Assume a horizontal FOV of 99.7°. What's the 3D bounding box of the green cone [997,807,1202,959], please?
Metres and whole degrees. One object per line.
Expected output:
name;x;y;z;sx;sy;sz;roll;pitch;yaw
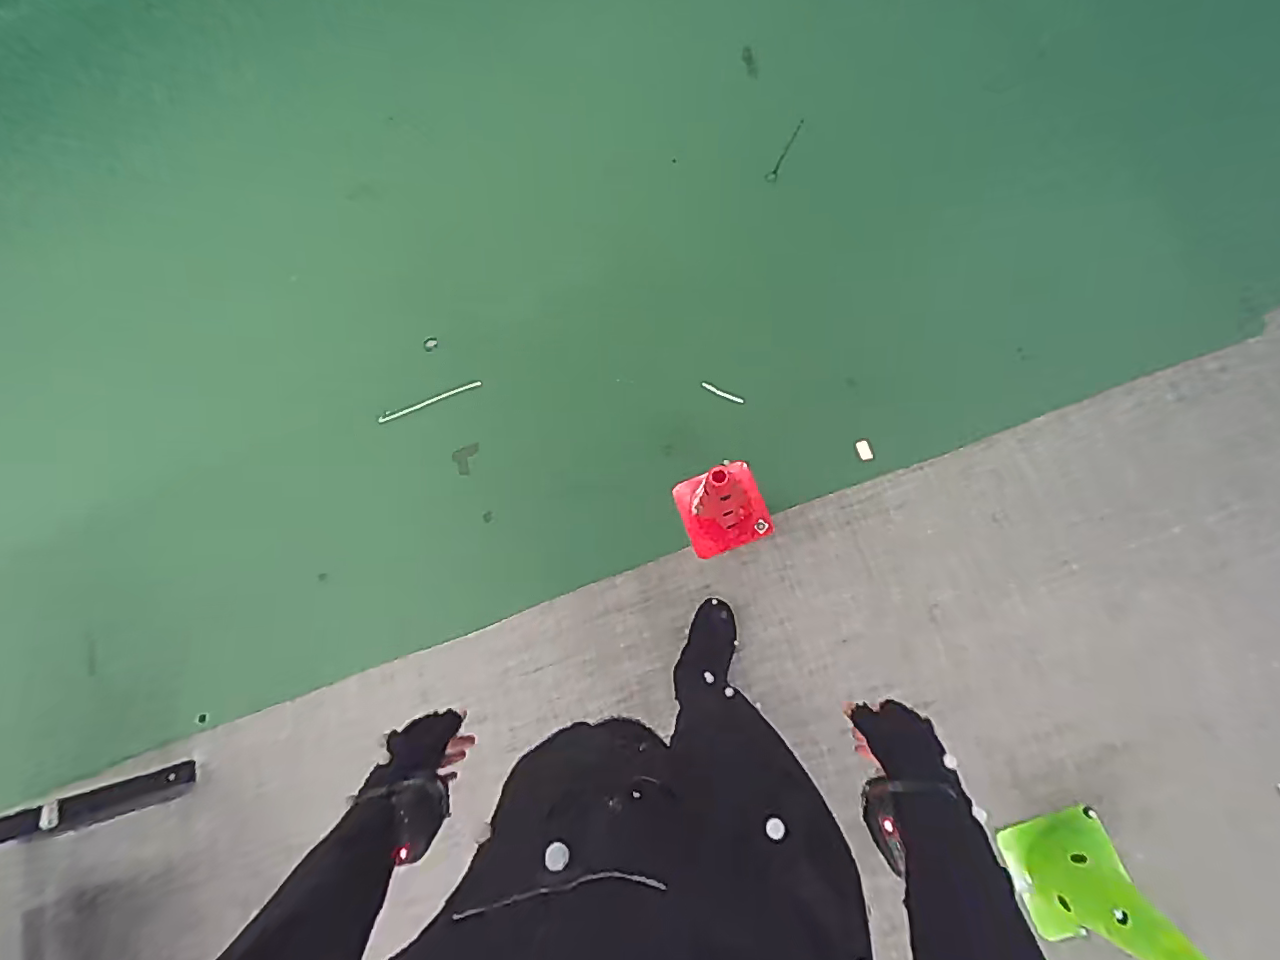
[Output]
green cone;0.802;0.732;0.886;0.200;0.368;0.202;-23;75;4
